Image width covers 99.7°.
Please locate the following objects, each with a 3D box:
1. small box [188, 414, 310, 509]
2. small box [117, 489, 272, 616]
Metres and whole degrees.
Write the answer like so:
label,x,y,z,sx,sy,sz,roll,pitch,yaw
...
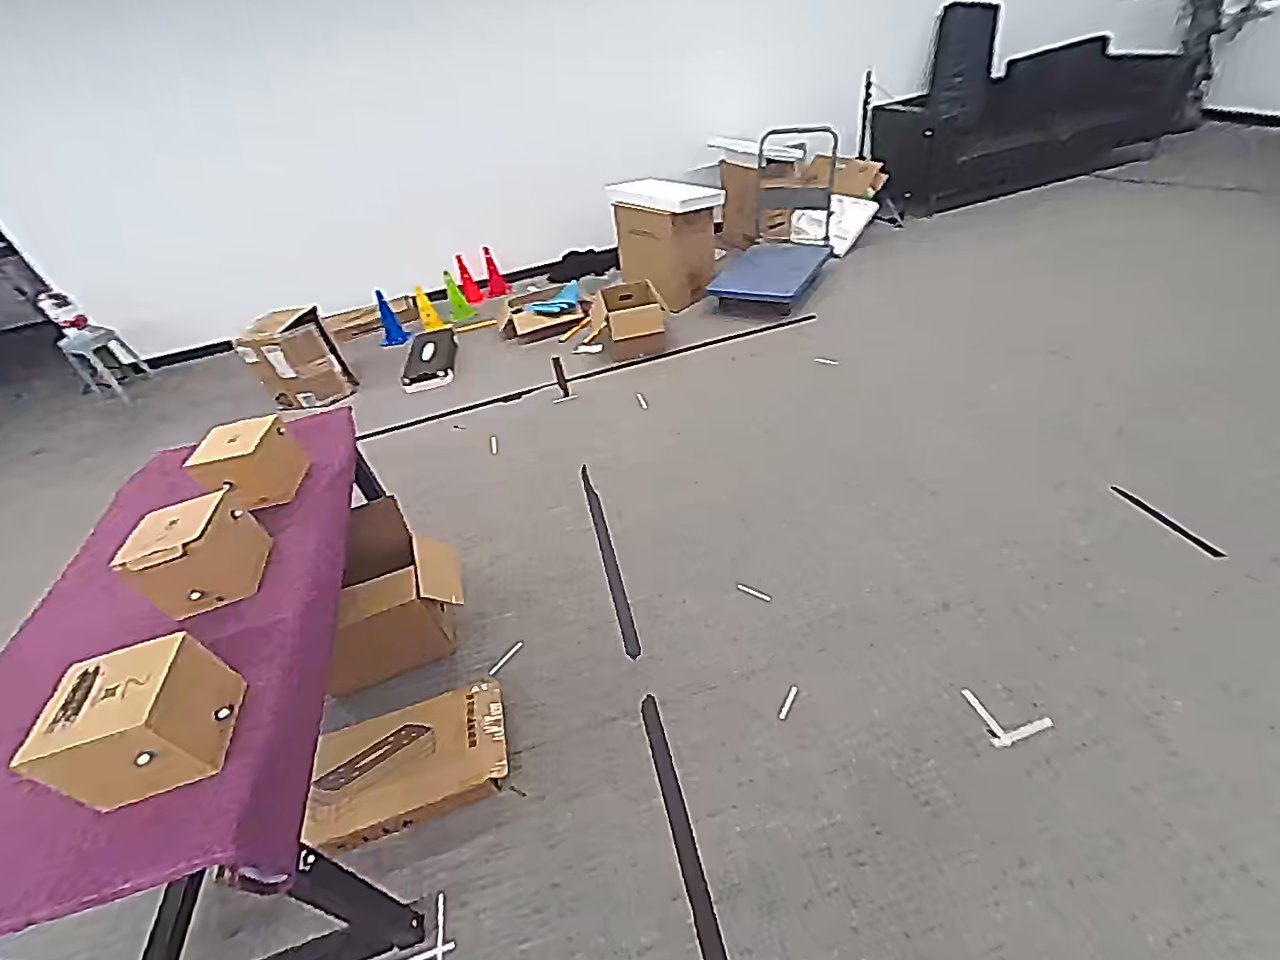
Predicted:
label,x,y,z,sx,sy,sz,roll,pitch,yaw
small box,-0.987,-0.040,1.387,0.168,0.176,0.179,-13,39,-2
small box,-0.921,0.153,1.142,0.168,0.176,0.179,-19,40,-6
